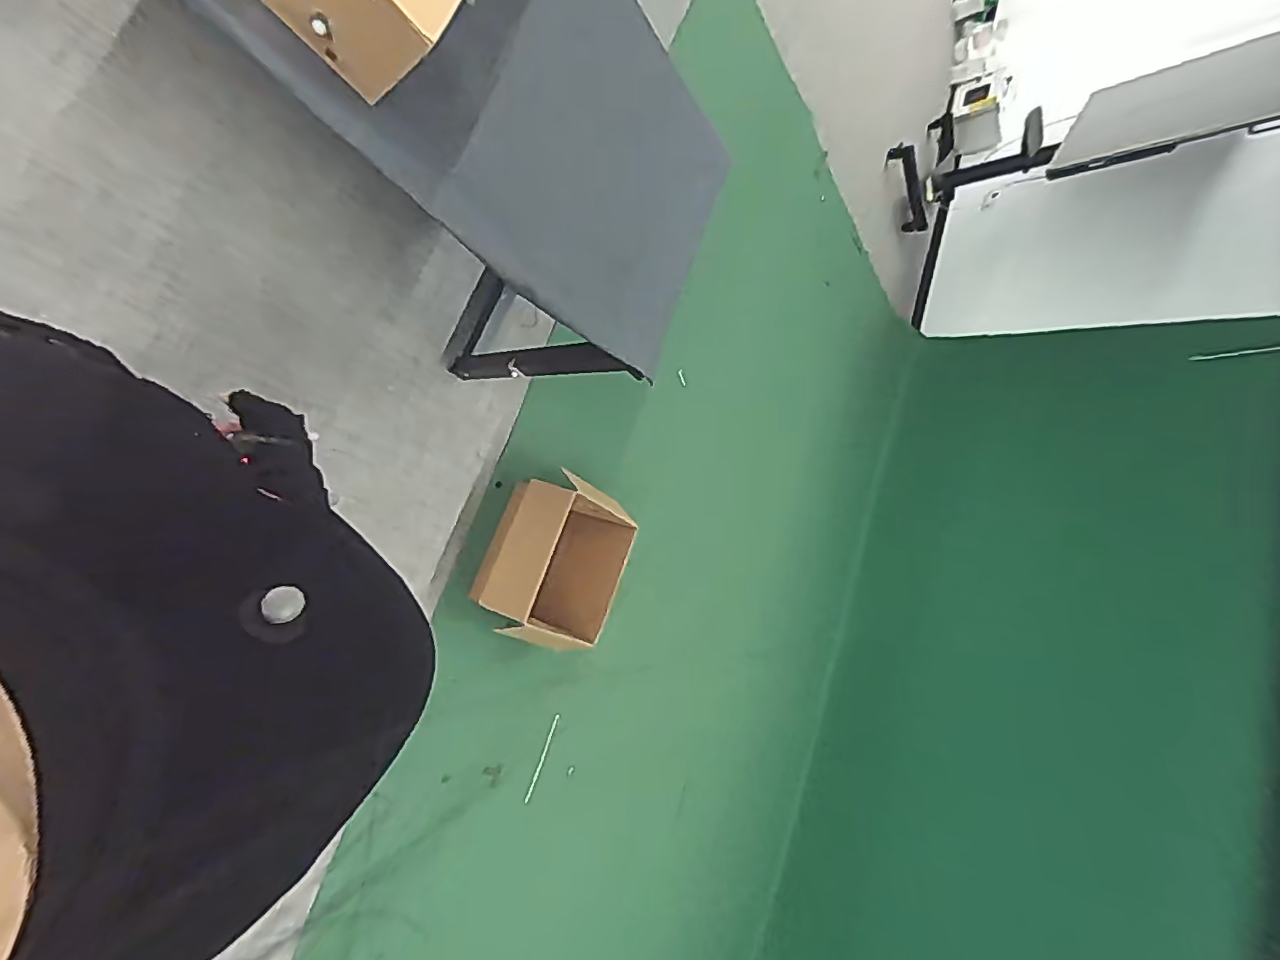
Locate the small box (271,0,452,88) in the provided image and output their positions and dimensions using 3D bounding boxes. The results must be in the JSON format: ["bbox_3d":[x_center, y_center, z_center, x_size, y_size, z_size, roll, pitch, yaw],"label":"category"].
[{"bbox_3d":[-0.309,-0.599,0.606,0.168,0.176,0.179,35,69,-45],"label":"small box"}]
